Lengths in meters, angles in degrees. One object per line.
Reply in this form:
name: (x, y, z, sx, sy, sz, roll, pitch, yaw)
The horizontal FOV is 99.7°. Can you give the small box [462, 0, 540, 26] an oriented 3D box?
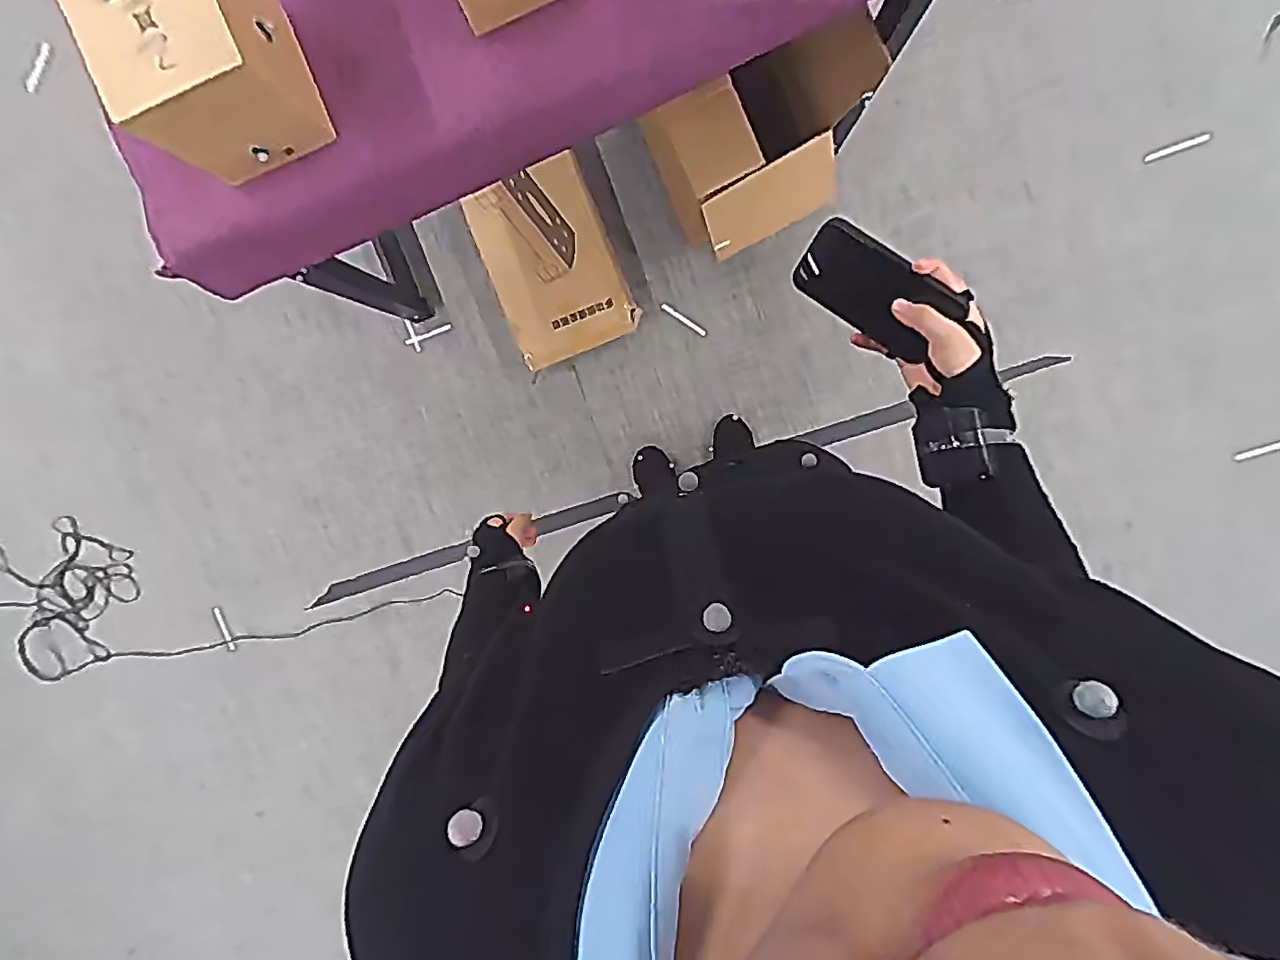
small box: (-0.161, -0.674, 0.601, 0.179, 0.176, 0.168, -21, 93, 5)
